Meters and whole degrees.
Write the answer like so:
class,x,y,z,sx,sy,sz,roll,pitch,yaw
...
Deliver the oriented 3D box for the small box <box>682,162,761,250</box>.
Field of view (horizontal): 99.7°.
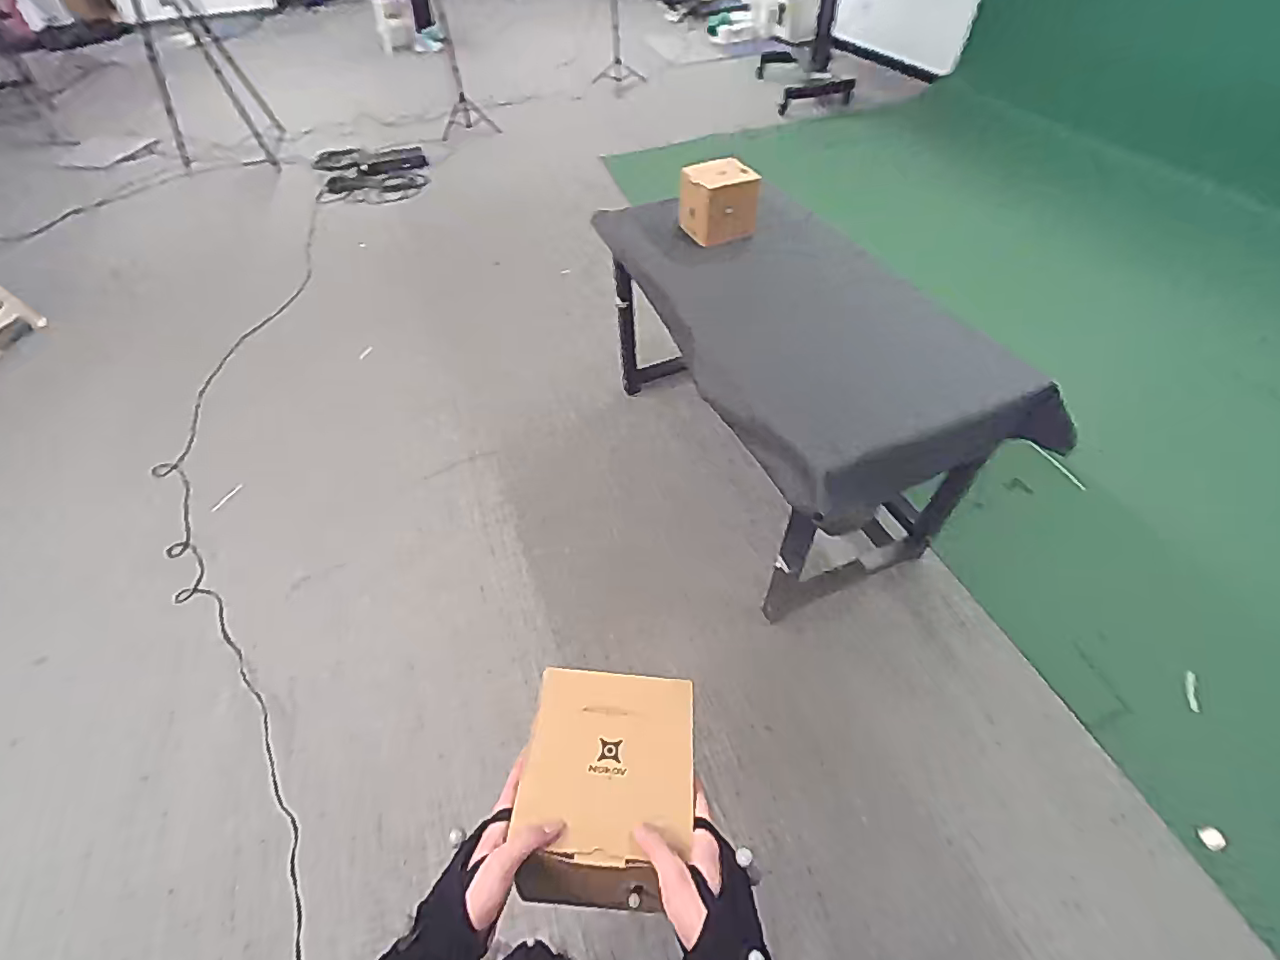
class,x,y,z,sx,sy,sz,roll,pitch,yaw
small box,0.237,-0.811,1.608,0.179,0.176,0.168,-20,54,-13
